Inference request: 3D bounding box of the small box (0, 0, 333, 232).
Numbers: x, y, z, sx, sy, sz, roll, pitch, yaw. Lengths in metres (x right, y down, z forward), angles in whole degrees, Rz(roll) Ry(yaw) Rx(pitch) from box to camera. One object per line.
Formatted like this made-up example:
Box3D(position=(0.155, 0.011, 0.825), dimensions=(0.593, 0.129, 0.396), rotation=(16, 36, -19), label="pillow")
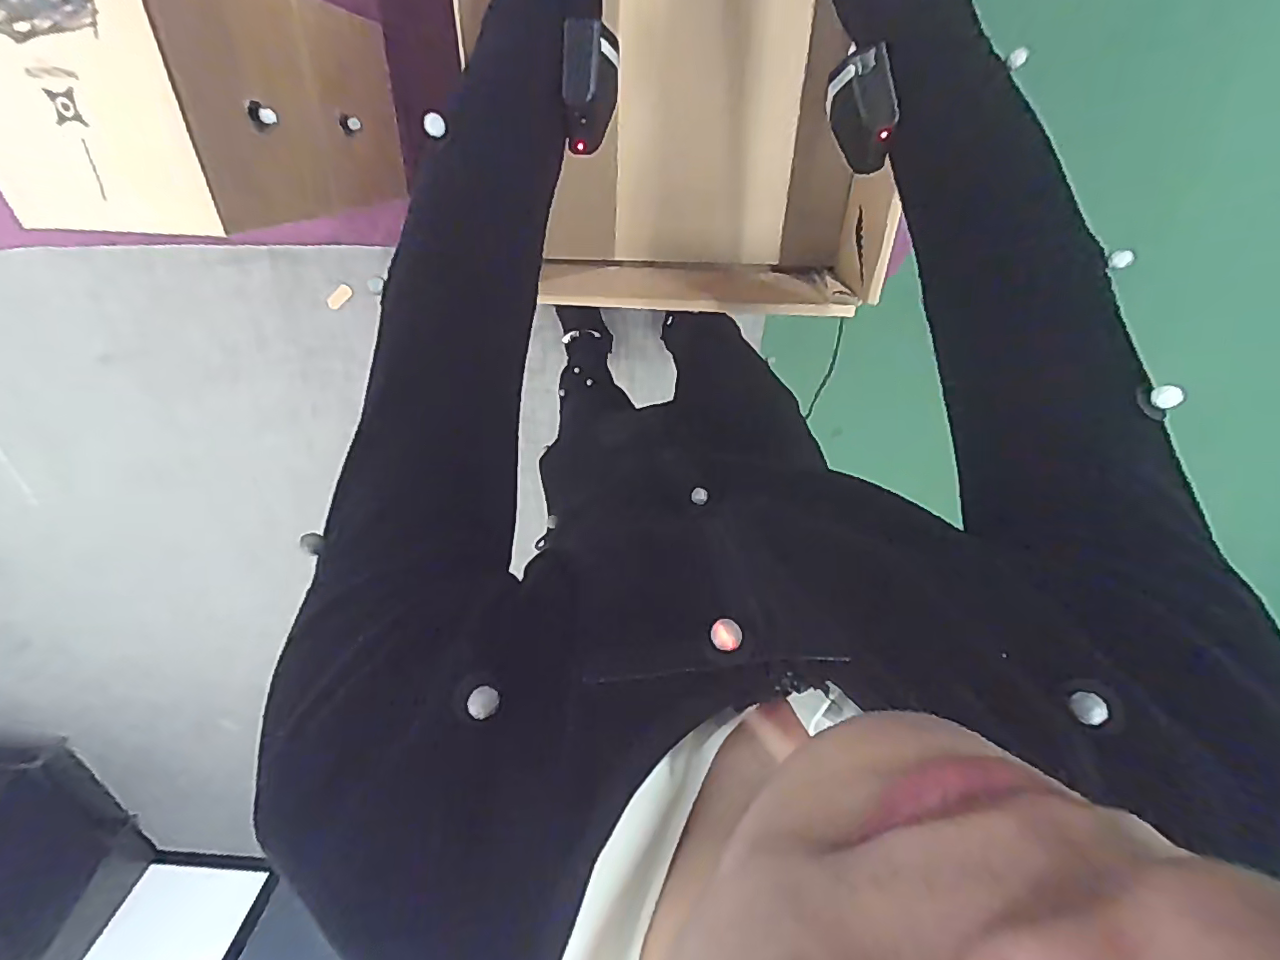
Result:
Box3D(position=(-0.384, -0.308, 0.431), dimensions=(0.168, 0.176, 0.179), rotation=(4, 123, 2), label="small box")
